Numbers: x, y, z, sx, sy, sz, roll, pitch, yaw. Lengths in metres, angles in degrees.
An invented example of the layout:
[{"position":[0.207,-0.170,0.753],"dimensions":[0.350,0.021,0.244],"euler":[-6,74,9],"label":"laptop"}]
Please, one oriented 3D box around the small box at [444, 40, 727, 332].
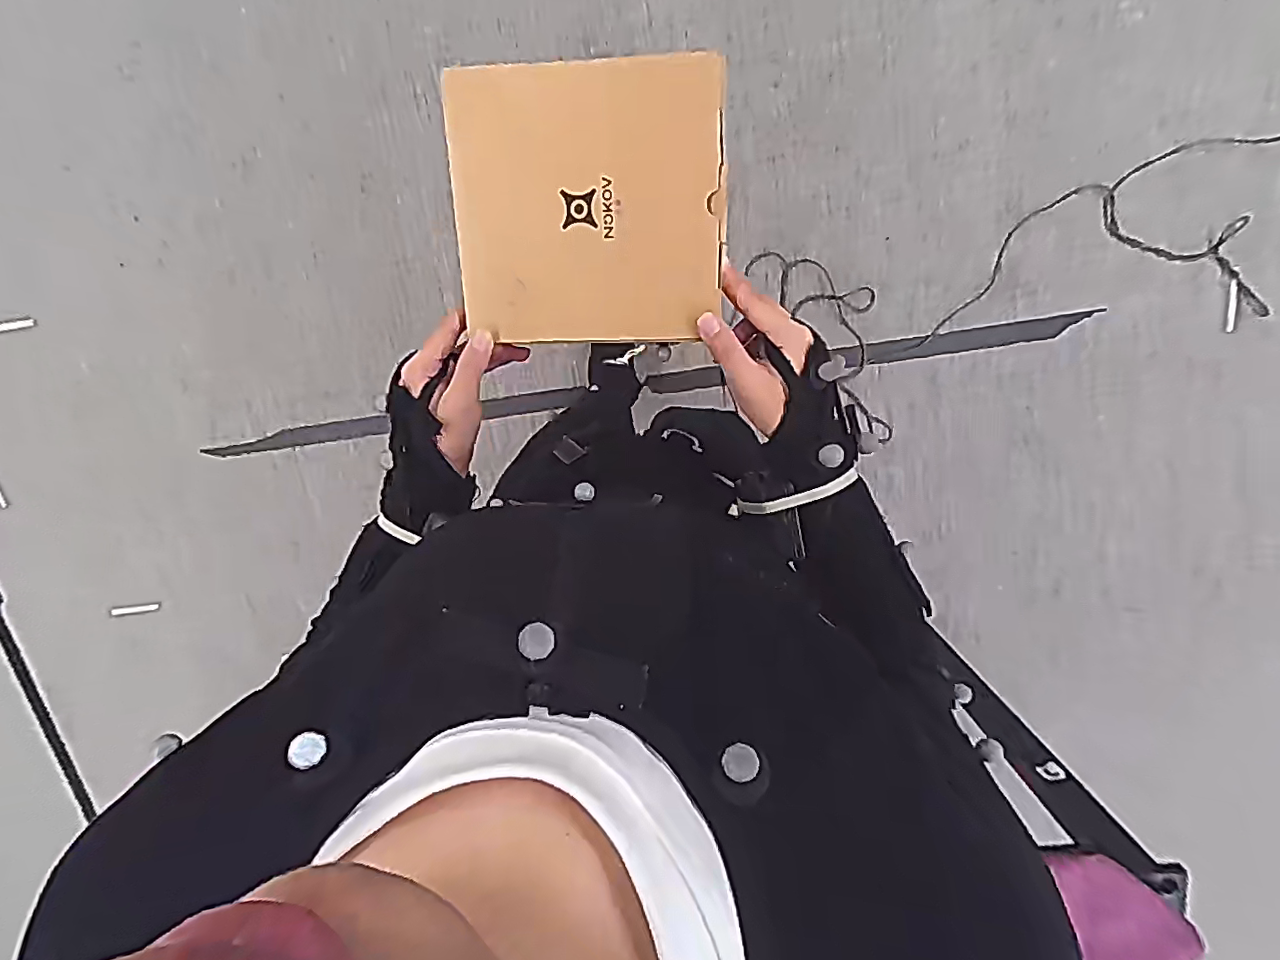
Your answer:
[{"position":[-0.029,-0.202,0.422],"dimensions":[0.179,0.176,0.168],"euler":[0,105,3],"label":"small box"}]
